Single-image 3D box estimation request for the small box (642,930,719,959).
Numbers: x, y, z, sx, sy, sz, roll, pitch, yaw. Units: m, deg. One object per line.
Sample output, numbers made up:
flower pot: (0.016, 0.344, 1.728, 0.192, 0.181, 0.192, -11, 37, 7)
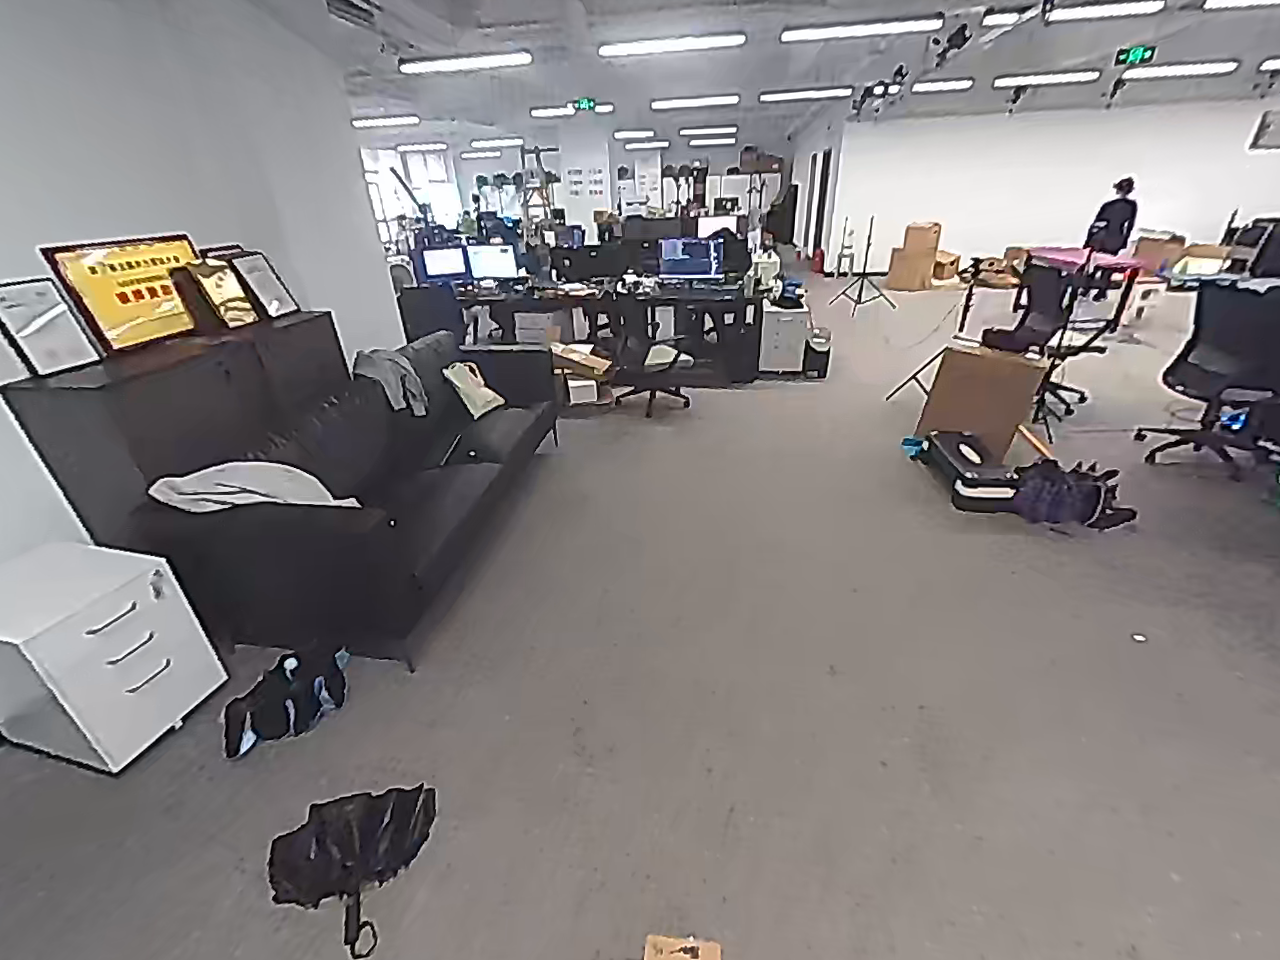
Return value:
small box: (0.086, 1.112, 1.155, 0.168, 0.176, 0.179, 1, 30, 7)
